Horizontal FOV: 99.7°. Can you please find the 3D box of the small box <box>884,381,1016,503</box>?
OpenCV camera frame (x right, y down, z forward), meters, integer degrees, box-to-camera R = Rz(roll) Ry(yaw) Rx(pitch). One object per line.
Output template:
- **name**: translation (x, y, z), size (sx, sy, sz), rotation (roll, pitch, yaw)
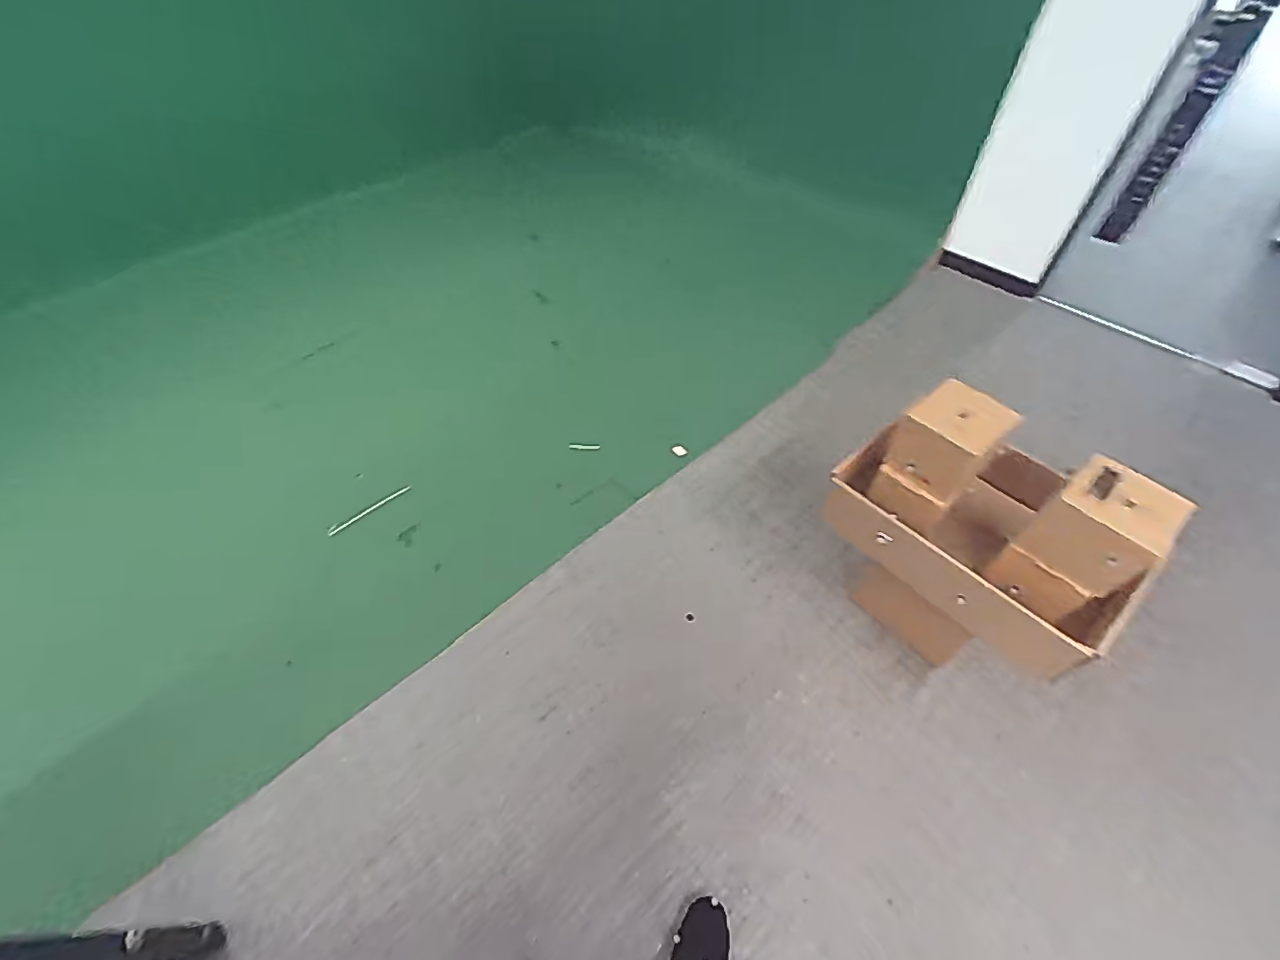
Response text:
- **small box**: translation (0.685, -0.084, 1.217), size (0.179, 0.176, 0.168), rotation (-33, 56, -21)
